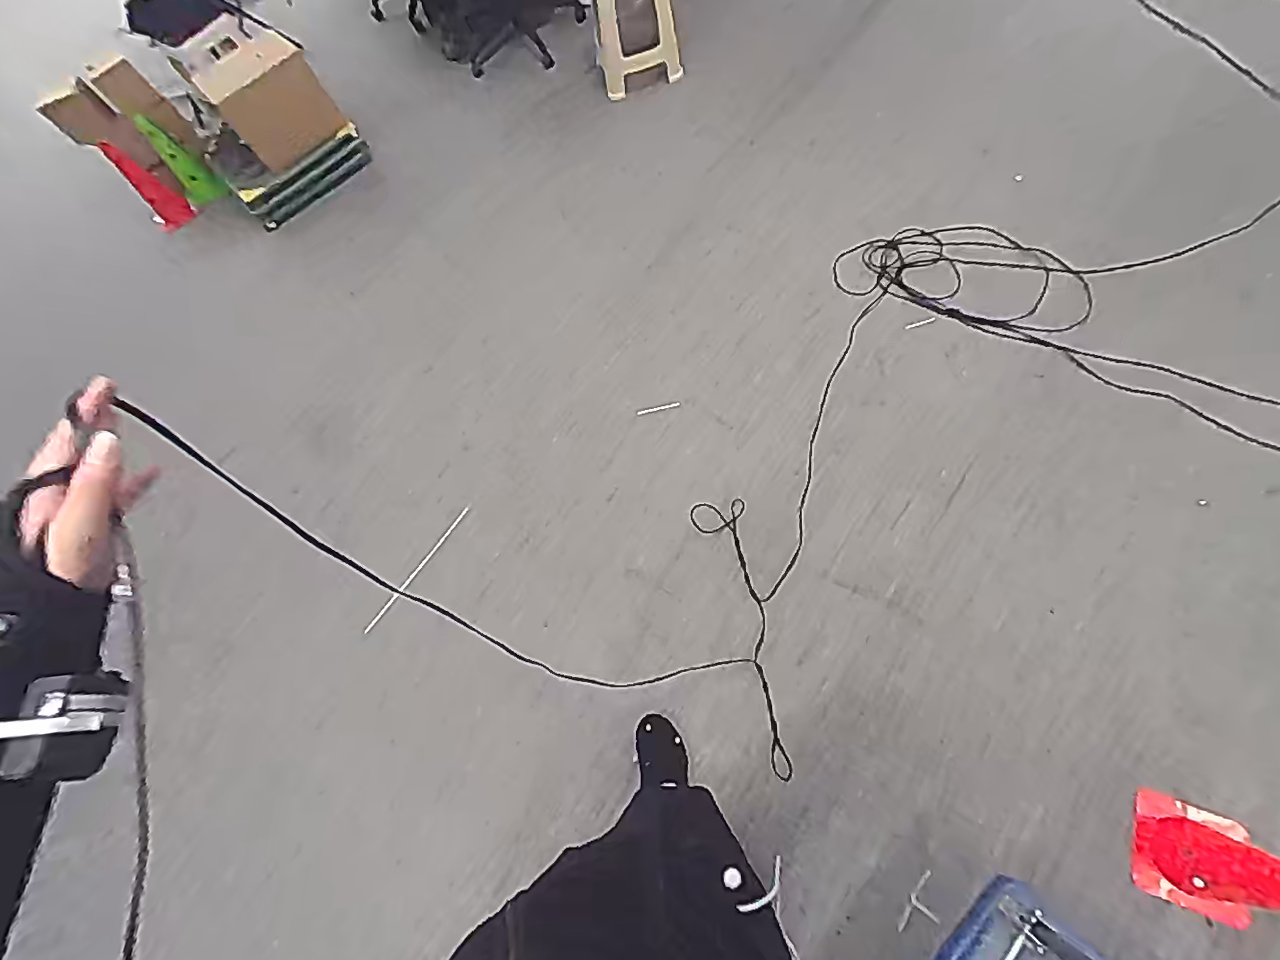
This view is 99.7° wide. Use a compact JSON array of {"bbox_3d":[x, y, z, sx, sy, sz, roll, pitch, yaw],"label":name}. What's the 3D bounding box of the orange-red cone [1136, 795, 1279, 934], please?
[{"bbox_3d":[1.123,0.722,0.966,0.198,0.360,0.199,18,70,16],"label":"orange-red cone"}]
